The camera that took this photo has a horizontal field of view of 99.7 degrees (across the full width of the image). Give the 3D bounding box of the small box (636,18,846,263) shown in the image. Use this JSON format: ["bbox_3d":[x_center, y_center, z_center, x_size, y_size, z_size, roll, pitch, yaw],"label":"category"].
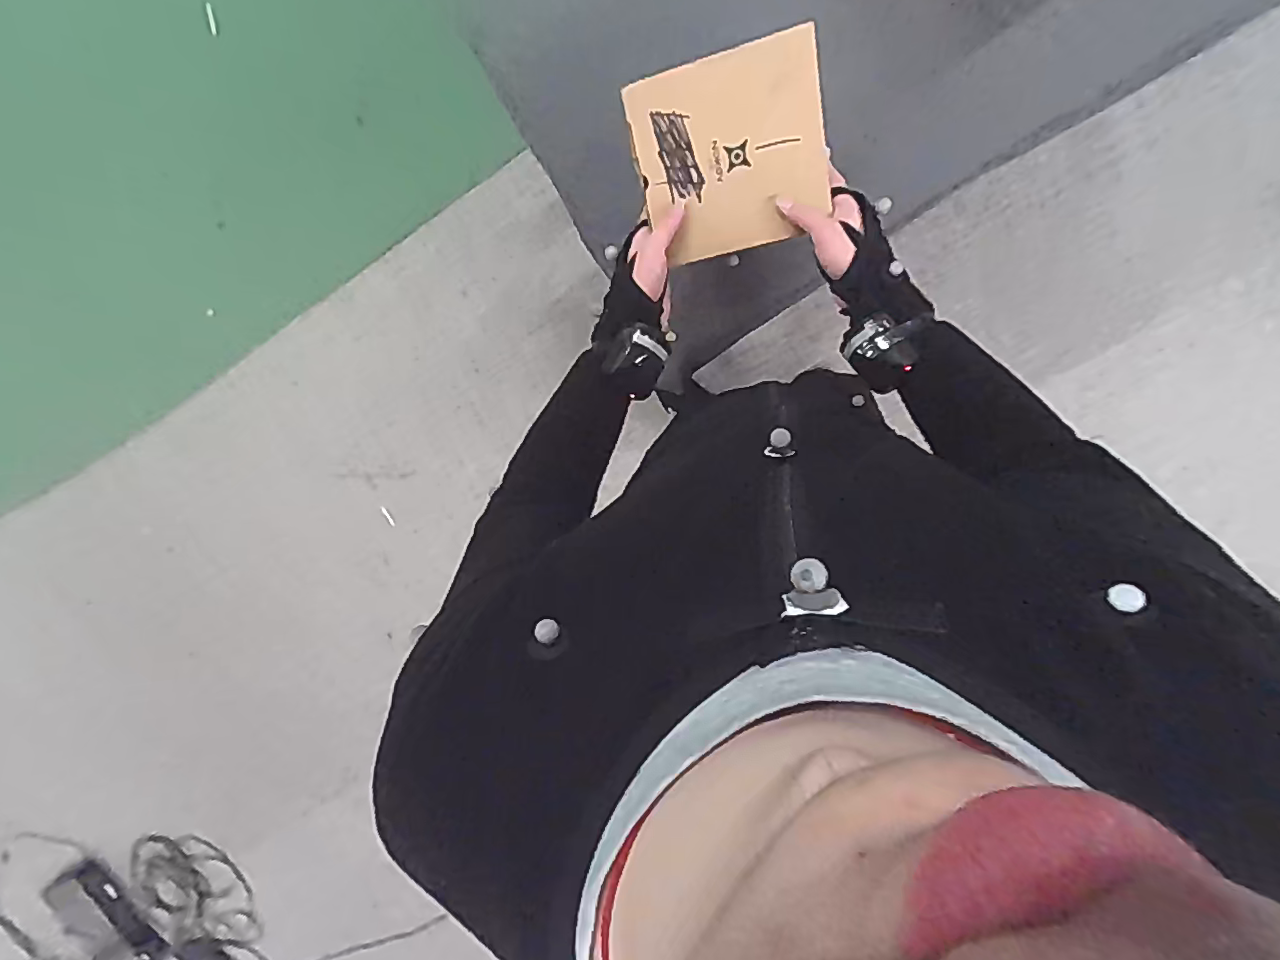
[{"bbox_3d":[0.109,-0.332,0.570,0.179,0.176,0.168,-8,112,14],"label":"small box"}]
